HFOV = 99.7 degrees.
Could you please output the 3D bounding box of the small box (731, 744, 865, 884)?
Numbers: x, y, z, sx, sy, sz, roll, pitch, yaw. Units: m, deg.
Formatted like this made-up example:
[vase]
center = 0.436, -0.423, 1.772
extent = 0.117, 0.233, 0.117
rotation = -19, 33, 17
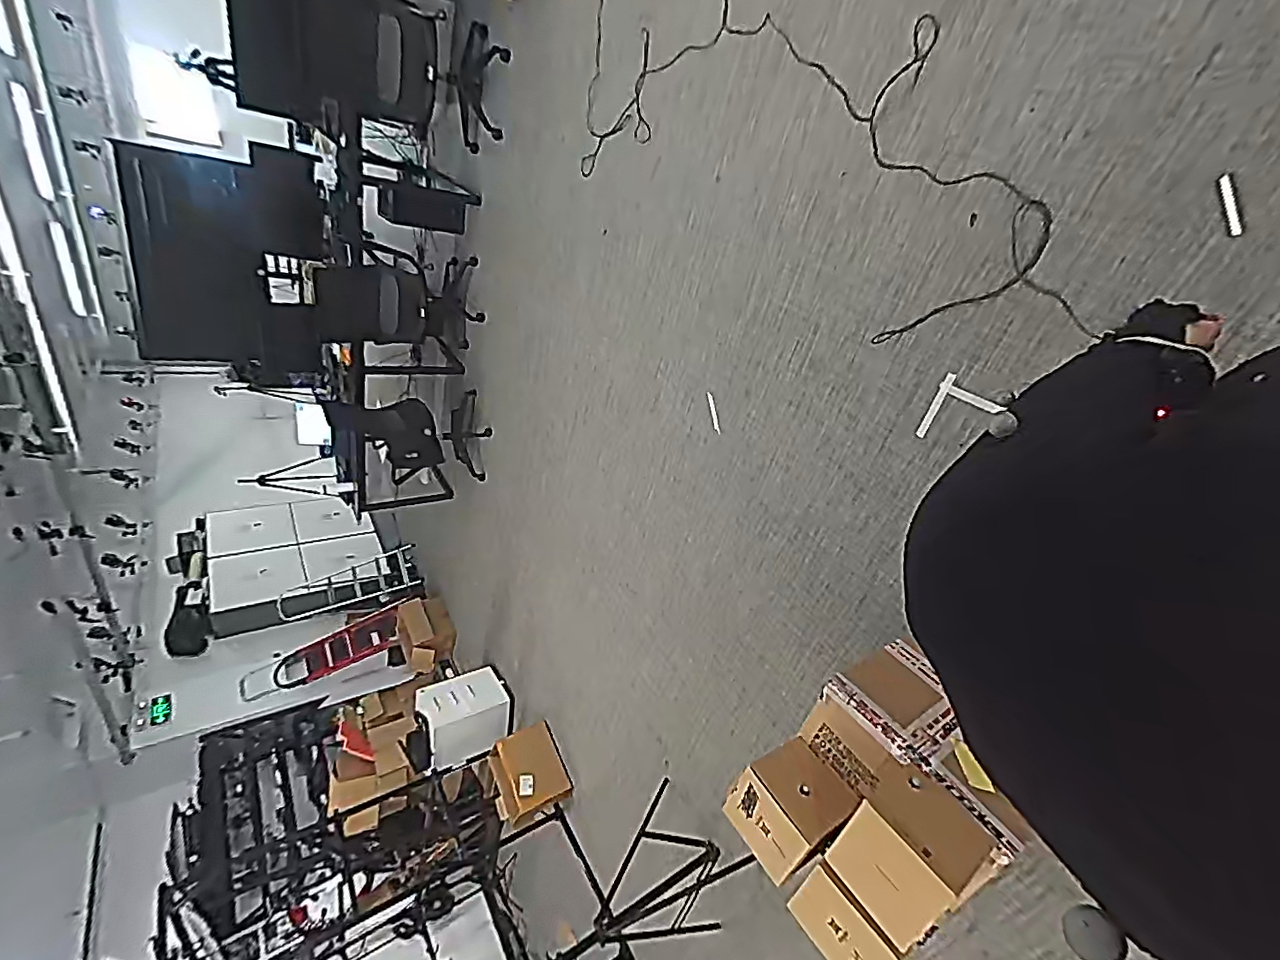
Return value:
[small box]
center = 0.331, 0.689, 1.142
extent = 0.179, 0.176, 0.168
rotation = 45, 130, 41
